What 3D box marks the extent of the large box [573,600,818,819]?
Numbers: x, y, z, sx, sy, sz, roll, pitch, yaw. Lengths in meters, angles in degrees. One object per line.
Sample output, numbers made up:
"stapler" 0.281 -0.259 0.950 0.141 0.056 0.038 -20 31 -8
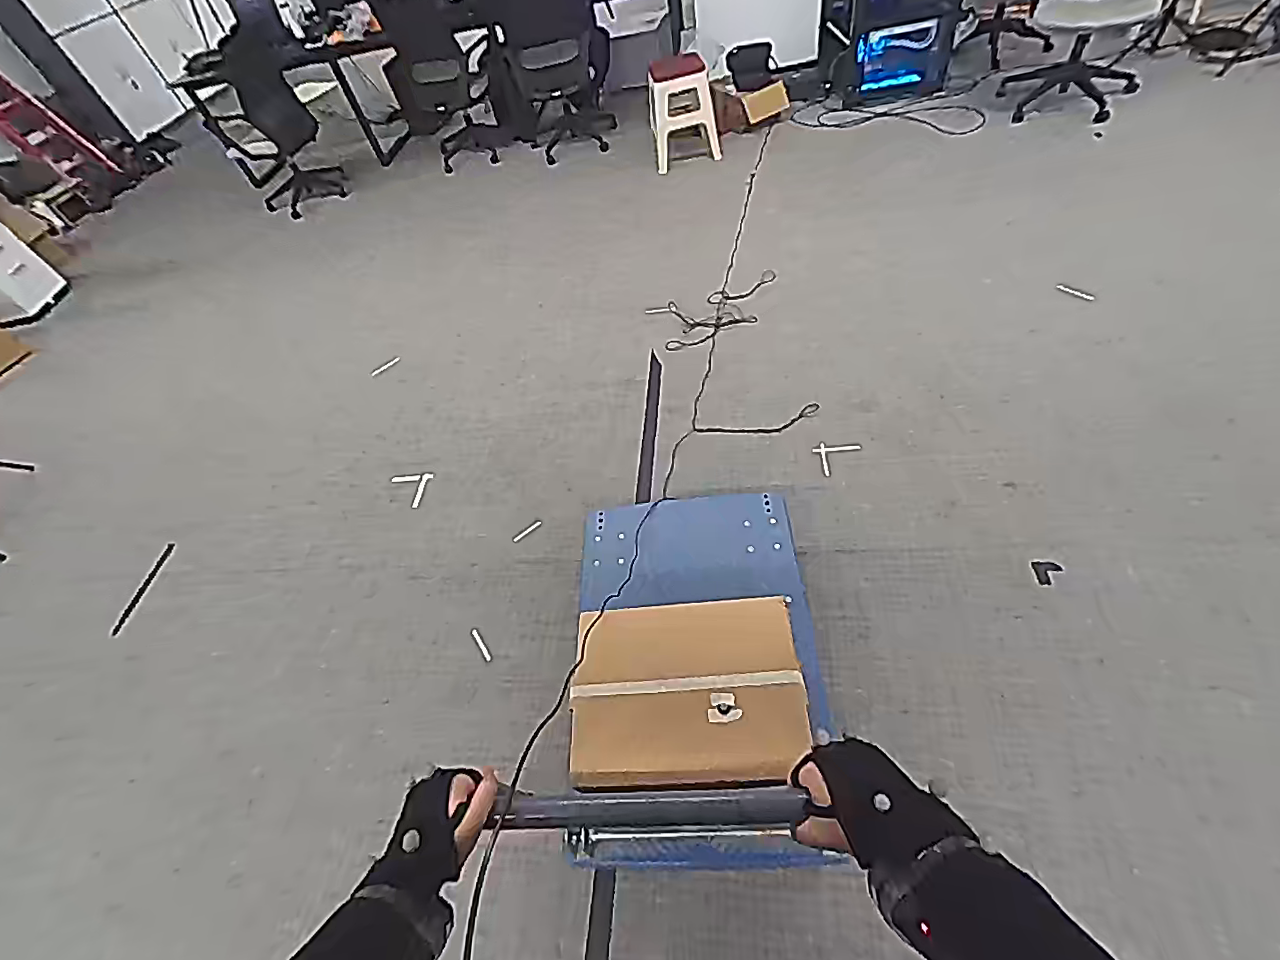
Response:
"large box" 0.103 0.463 1.070 0.408 0.320 0.320 -6 51 7
